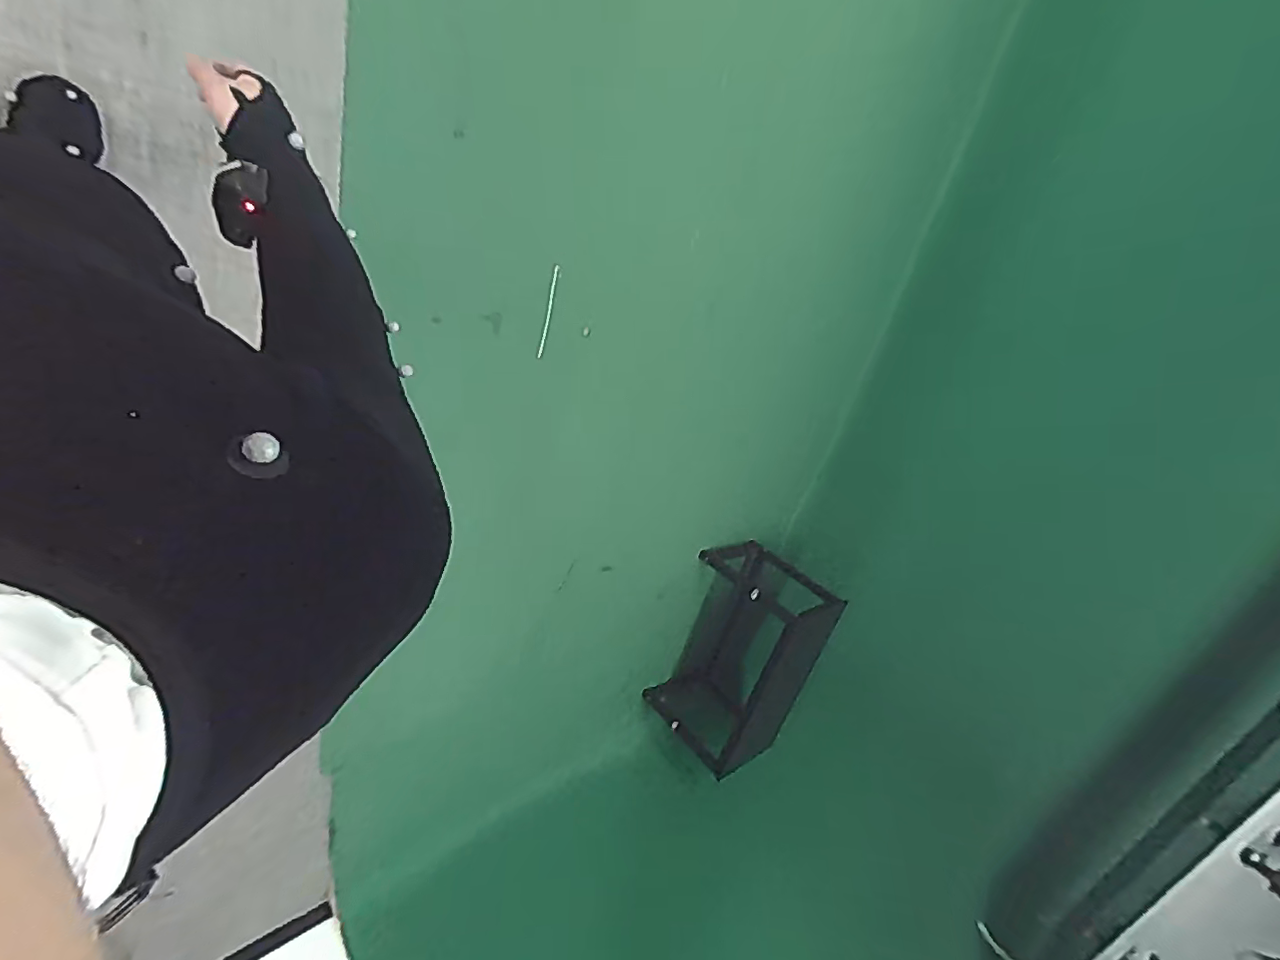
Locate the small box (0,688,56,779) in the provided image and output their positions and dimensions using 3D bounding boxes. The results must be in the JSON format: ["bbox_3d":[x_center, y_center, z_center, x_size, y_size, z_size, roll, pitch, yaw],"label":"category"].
[{"bbox_3d":[-1.585,0.653,1.338,0.179,0.176,0.168,-4,121,-45],"label":"small box"}]

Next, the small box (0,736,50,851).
[{"bbox_3d":[-1.487,0.729,1.234,0.179,0.176,0.168,-4,120,-45],"label":"small box"}]
